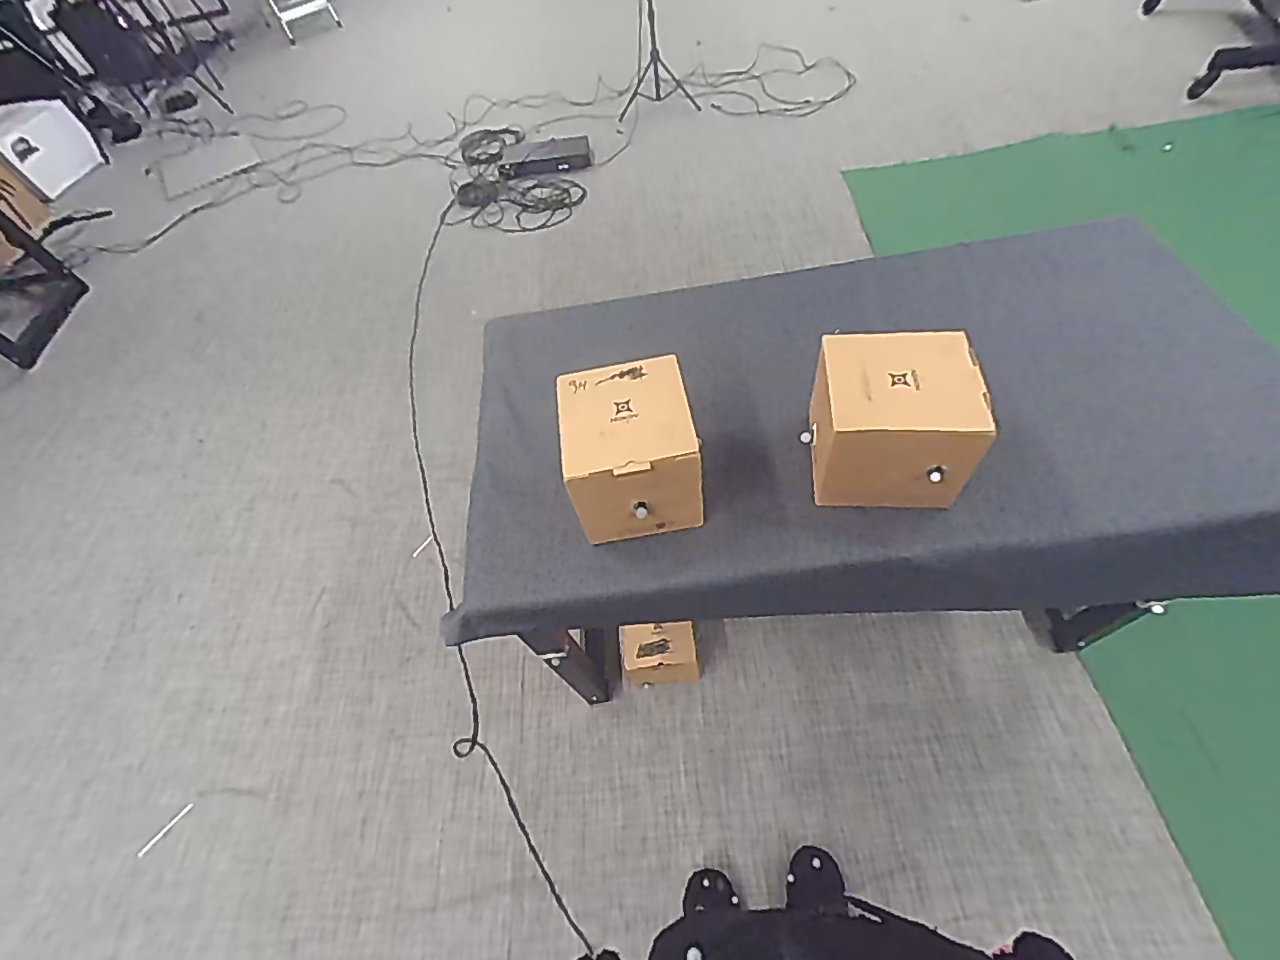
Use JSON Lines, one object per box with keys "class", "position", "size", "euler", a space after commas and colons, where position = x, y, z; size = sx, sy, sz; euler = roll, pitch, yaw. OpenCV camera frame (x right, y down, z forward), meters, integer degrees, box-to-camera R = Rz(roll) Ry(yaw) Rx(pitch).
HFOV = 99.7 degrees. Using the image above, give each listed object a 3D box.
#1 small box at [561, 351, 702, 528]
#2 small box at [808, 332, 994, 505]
{"class": "small box", "position": [-0.009, -0.046, 0.751], "size": [0.168, 0.176, 0.179], "euler": [-9, 56, 2]}
{"class": "small box", "position": [0.330, -0.077, 0.725], "size": [0.179, 0.176, 0.168], "euler": [1, 56, 10]}
